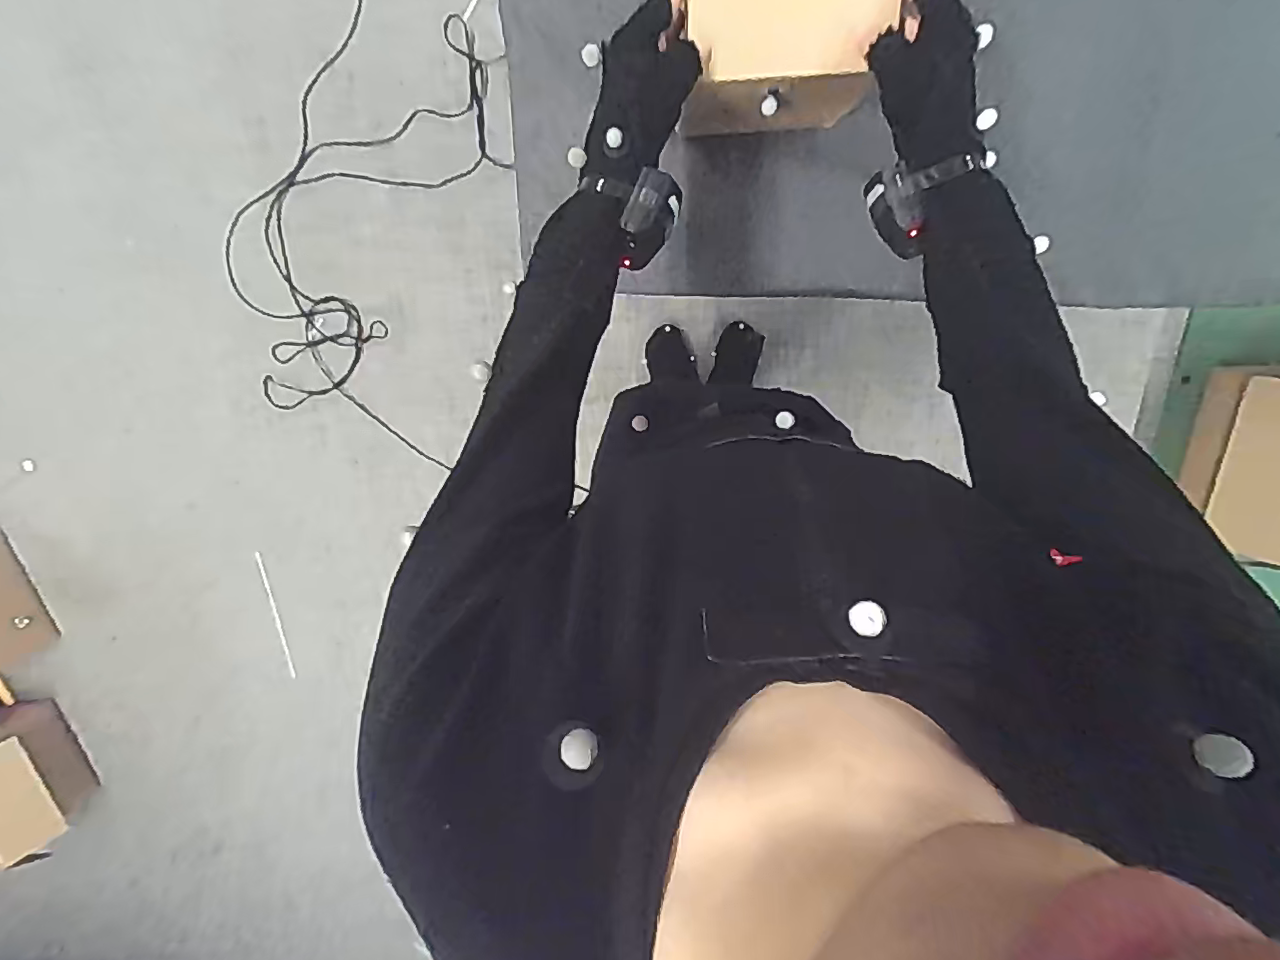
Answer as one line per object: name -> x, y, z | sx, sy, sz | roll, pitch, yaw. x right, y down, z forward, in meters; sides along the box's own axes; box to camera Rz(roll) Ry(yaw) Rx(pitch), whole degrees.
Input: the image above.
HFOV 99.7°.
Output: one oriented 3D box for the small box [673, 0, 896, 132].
small box -> 0.120, -0.441, 0.500 | 0.179, 0.176, 0.168 | -1, 109, 4
